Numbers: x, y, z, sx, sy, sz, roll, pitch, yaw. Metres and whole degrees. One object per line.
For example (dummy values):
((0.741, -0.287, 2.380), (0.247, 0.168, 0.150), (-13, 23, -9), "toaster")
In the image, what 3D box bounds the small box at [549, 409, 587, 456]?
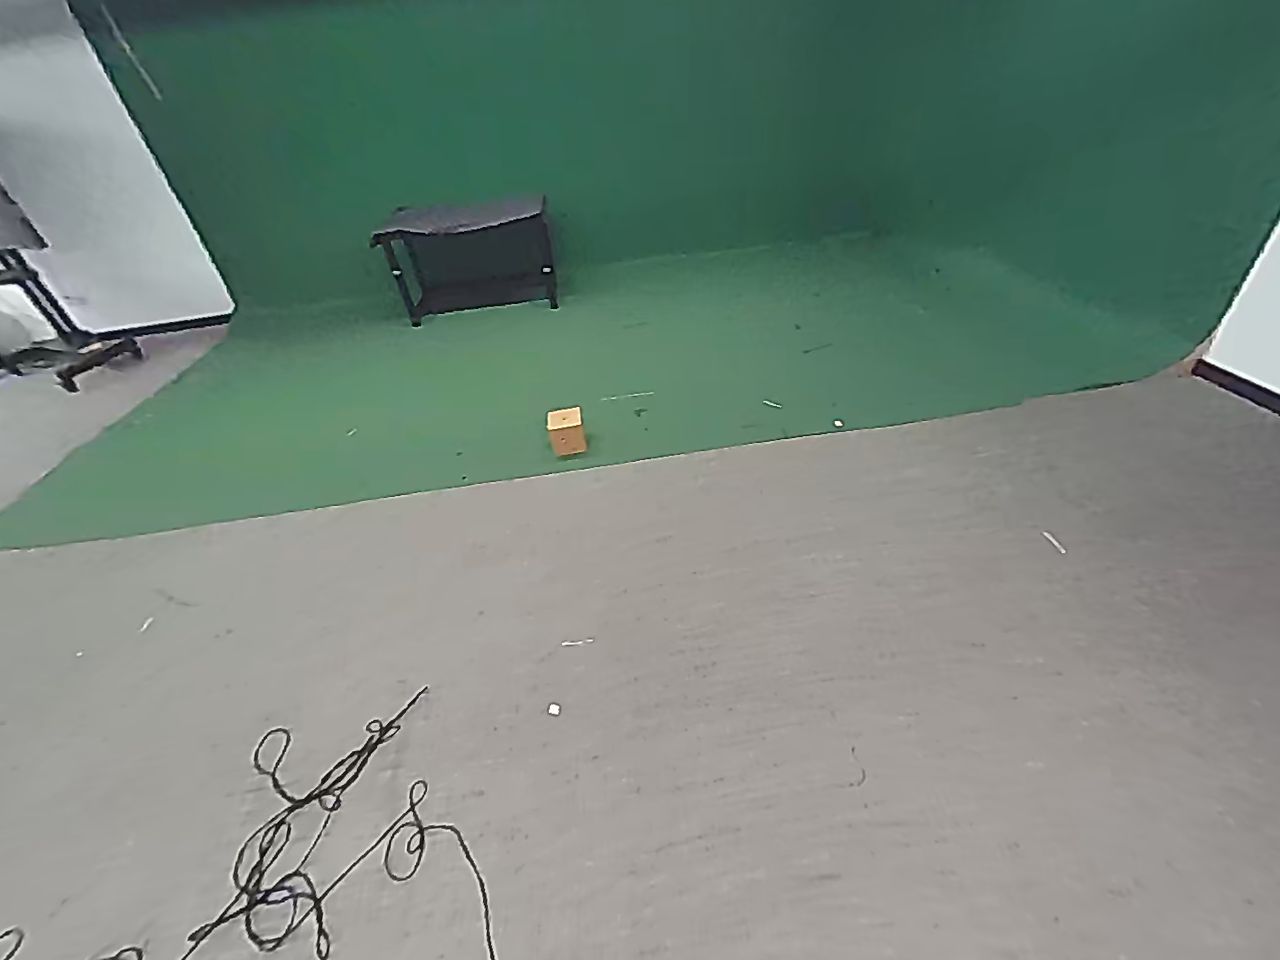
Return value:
((-0.365, -0.235, 2.746), (0.168, 0.176, 0.179), (-10, 37, -3), "small box")
